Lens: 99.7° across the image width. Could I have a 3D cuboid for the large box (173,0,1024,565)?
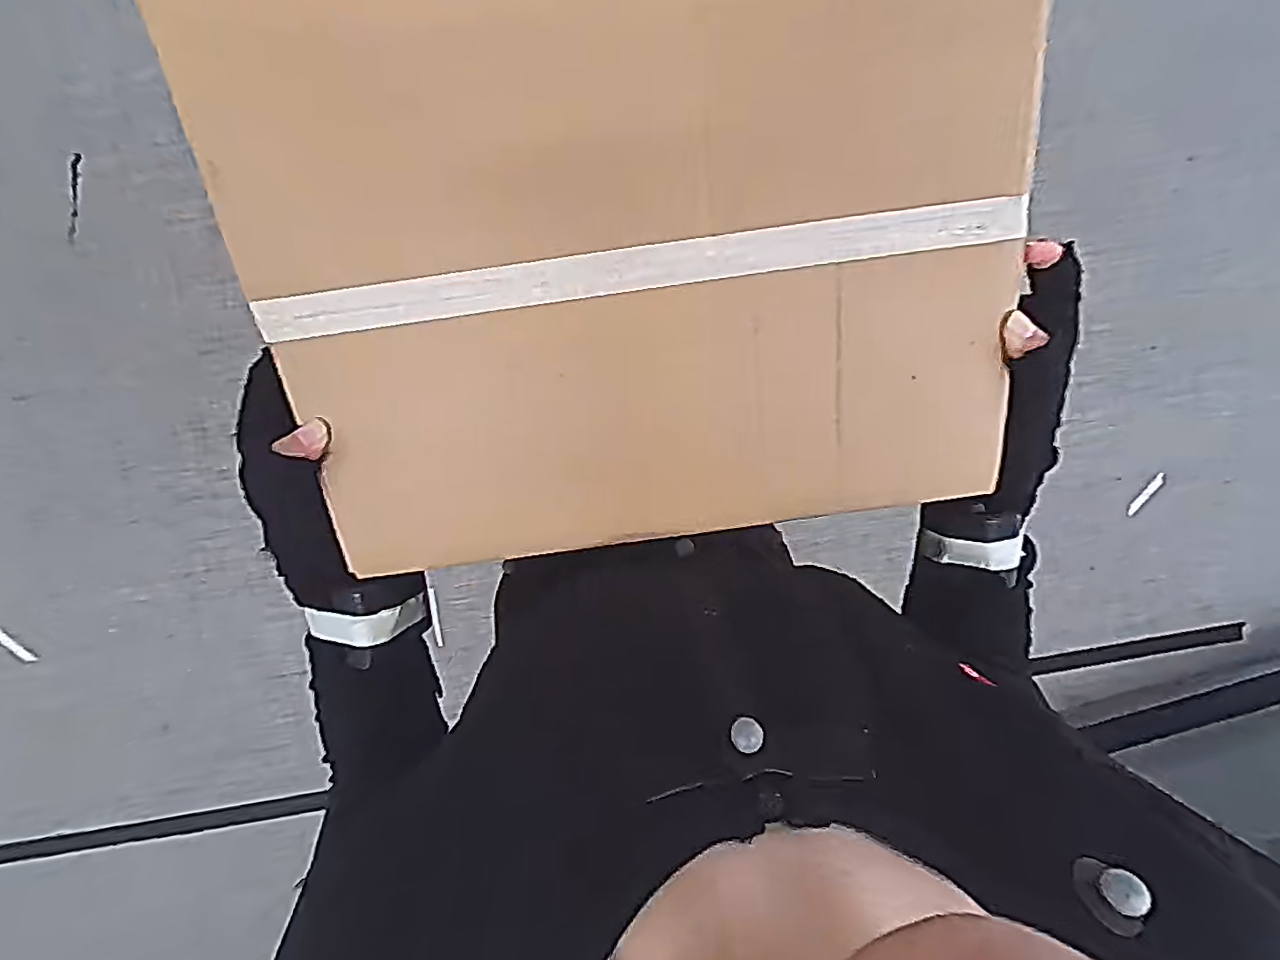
[{"bbox_3d":[-0.008,-0.164,0.434,0.408,0.320,0.320,-8,111,0],"label":"large box"}]
